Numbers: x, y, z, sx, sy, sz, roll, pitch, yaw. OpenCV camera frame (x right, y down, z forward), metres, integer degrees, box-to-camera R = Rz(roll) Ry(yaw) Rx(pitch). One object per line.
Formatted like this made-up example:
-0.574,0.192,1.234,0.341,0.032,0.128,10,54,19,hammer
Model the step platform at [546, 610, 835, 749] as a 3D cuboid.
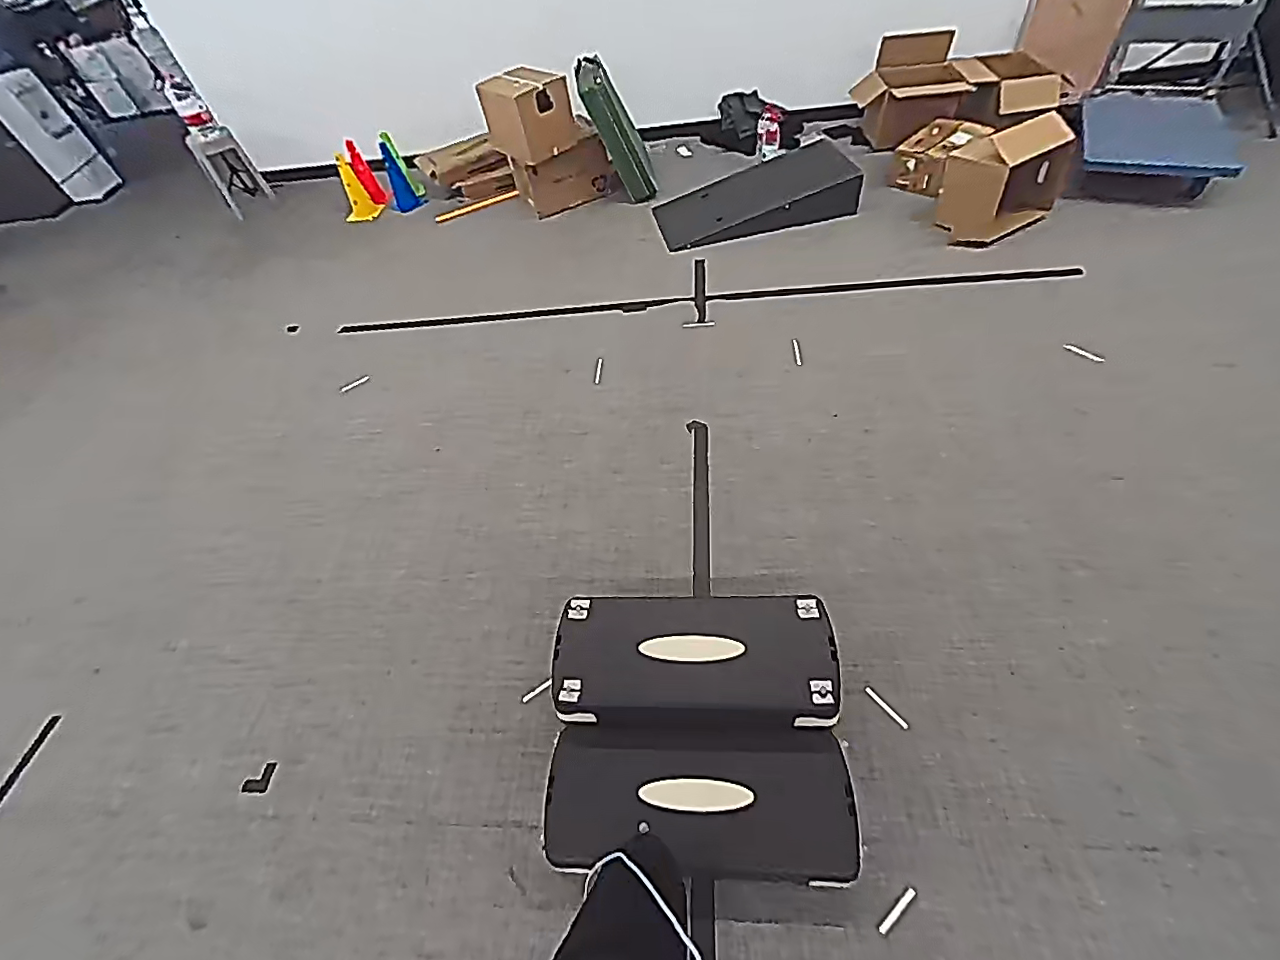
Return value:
0.116,0.485,1.329,0.684,0.204,0.286,-2,52,6,step platform
